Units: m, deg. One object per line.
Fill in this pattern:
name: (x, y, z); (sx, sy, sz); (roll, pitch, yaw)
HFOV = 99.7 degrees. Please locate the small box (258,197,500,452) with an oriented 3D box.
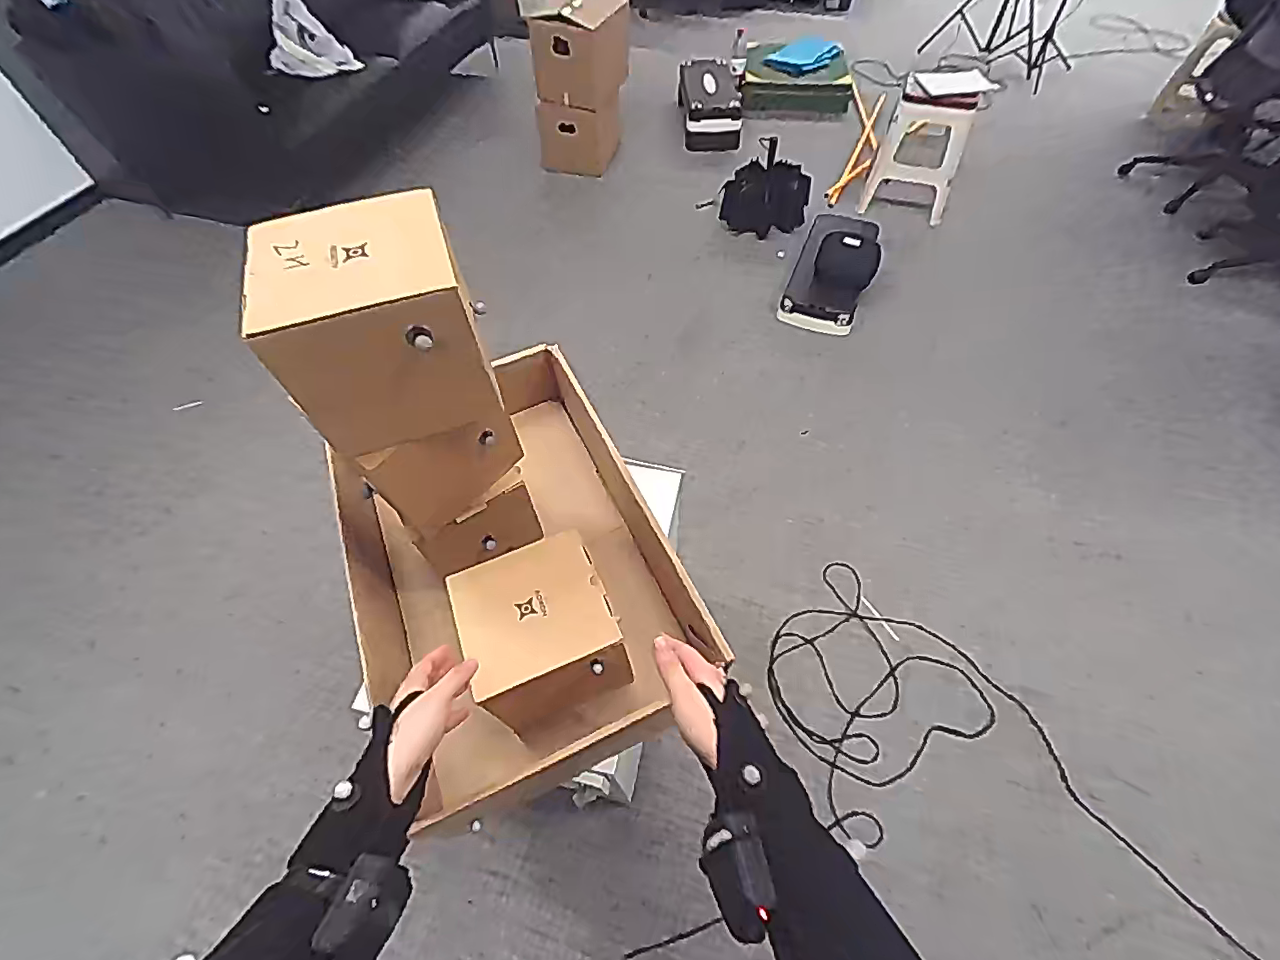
small box: (-0.257, -0.157, 0.567); (0.179, 0.176, 0.168); (-18, 57, -9)

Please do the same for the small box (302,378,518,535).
small box: (-0.279, -0.064, 0.704); (0.168, 0.176, 0.179); (34, 66, 23)
